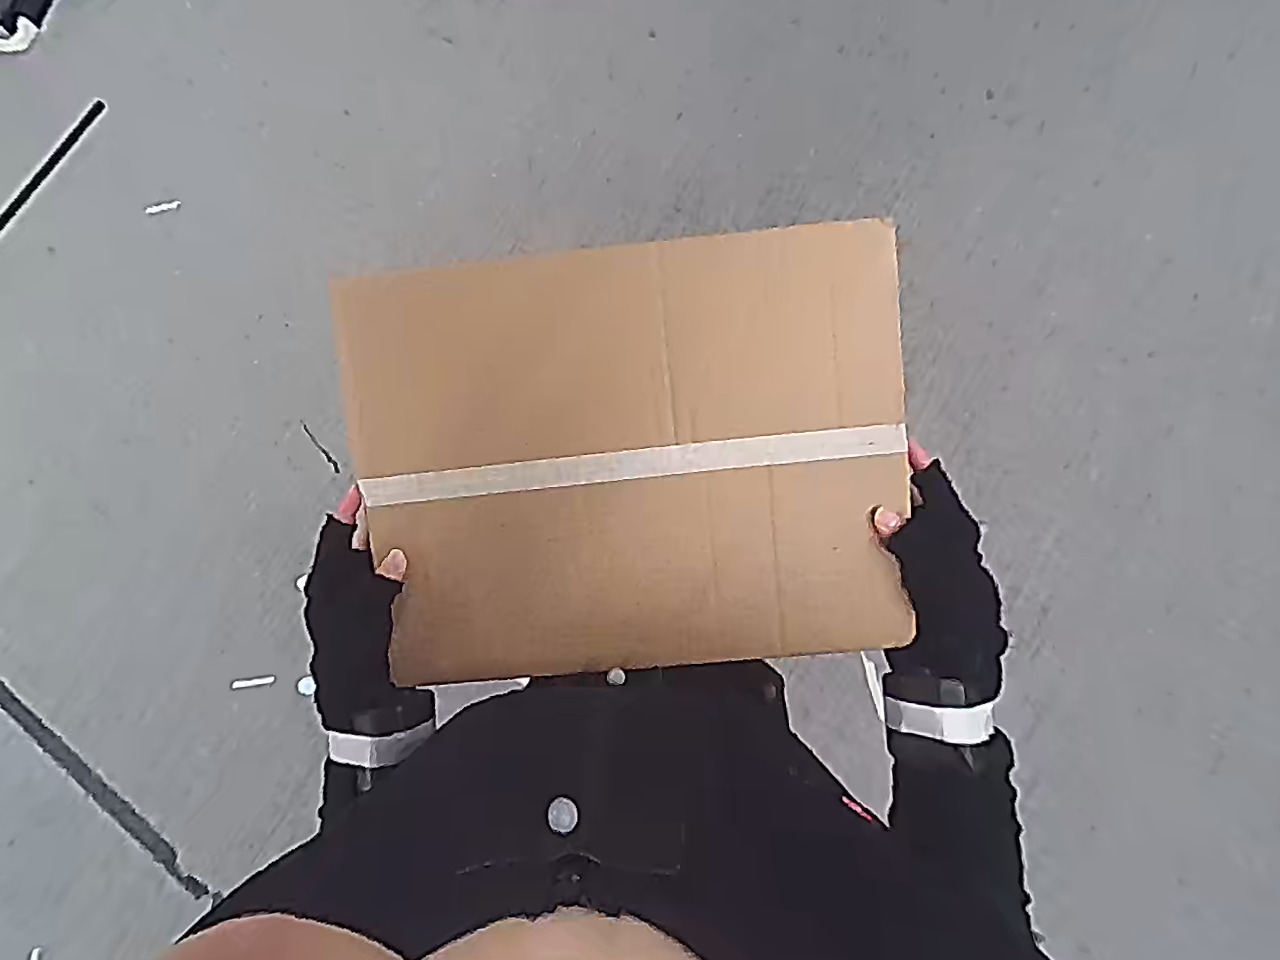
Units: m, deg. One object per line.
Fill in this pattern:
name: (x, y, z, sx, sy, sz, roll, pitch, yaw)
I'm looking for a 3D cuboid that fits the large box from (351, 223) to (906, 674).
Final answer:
large box: (-0.003, -0.029, 0.559, 0.408, 0.320, 0.320, -5, 97, 2)
